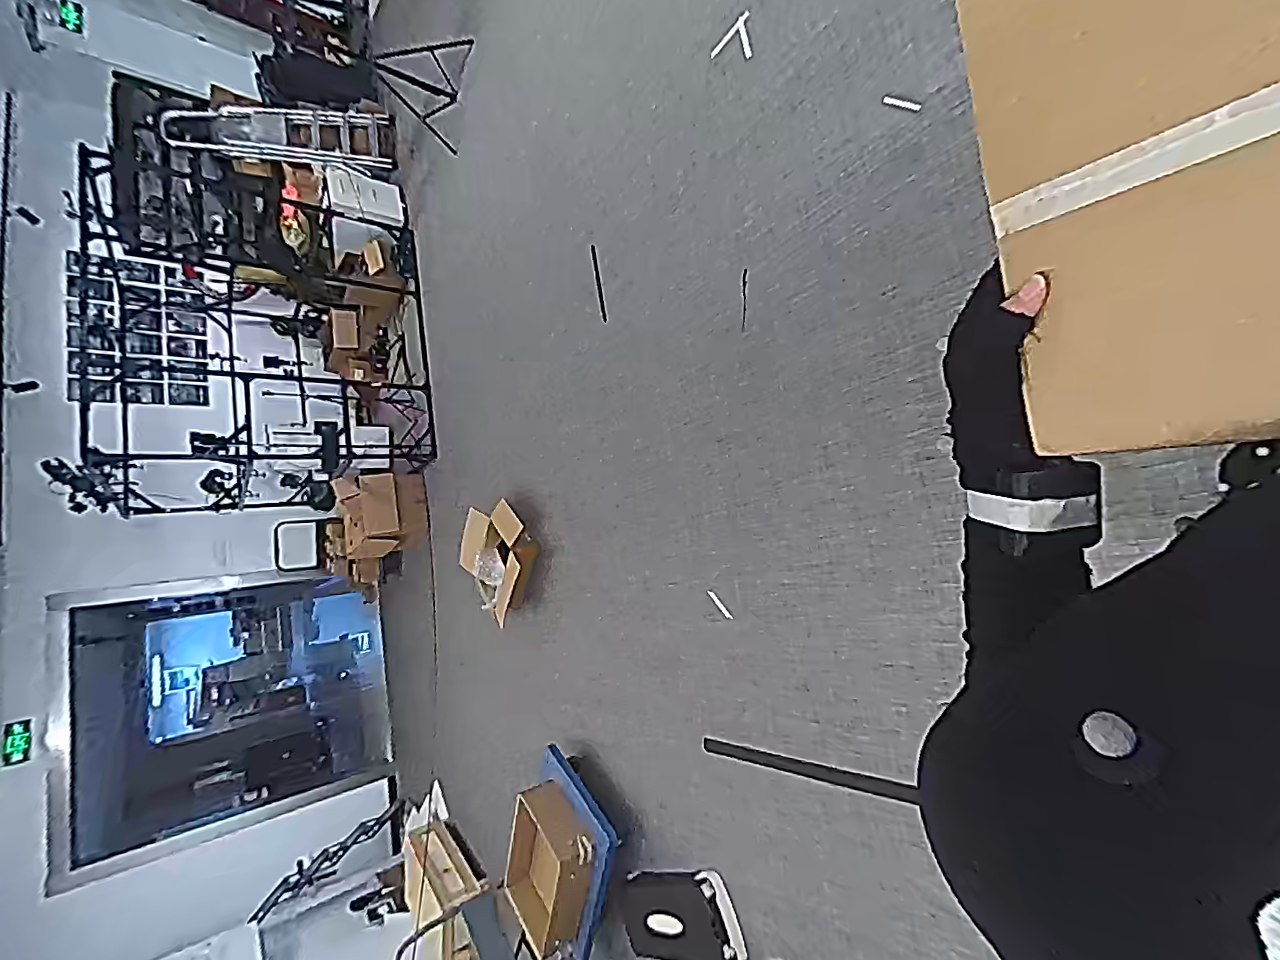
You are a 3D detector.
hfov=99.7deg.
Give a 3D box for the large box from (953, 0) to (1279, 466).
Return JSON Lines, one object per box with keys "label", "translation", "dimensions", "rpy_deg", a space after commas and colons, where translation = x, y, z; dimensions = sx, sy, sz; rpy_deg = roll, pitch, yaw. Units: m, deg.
{"label": "large box", "translation": [0.468, -0.209, 0.284], "dimensions": [0.408, 0.320, 0.320], "rpy_deg": [-7, 97, 55]}
